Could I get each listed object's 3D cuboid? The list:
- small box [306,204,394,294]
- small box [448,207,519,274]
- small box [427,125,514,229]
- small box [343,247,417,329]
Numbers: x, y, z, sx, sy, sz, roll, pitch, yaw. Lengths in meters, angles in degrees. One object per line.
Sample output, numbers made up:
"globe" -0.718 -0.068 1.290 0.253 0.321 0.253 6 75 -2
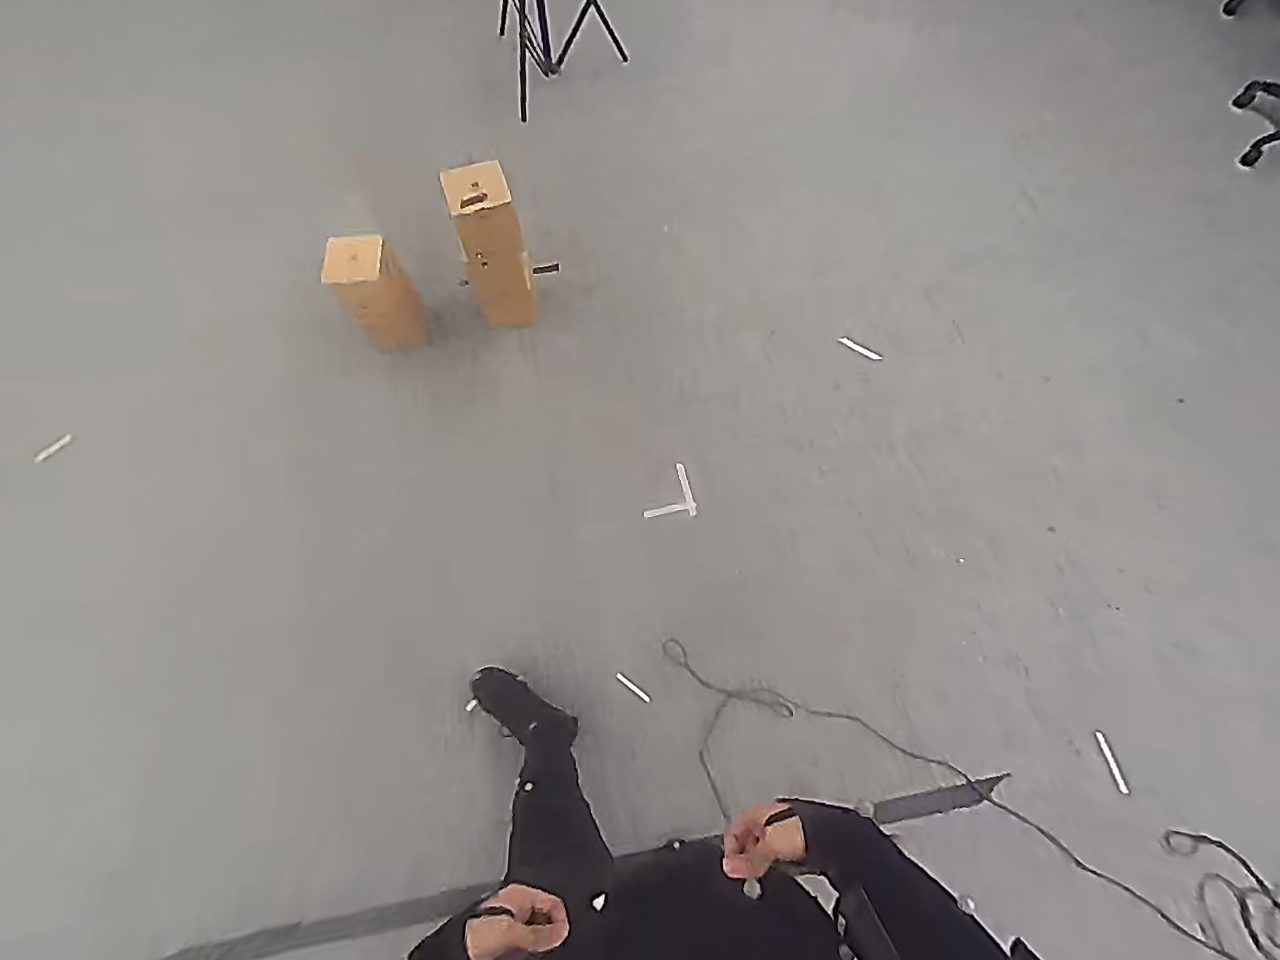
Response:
"small box" -0.842 -0.675 1.588 0.168 0.176 0.179 -5 69 -1
"small box" -0.465 -0.749 1.615 0.168 0.176 0.179 -11 68 -4
"small box" -0.450 -0.807 1.460 0.168 0.176 0.179 -18 70 -8
"small box" -0.831 -0.614 1.737 0.168 0.176 0.179 -8 68 -3
